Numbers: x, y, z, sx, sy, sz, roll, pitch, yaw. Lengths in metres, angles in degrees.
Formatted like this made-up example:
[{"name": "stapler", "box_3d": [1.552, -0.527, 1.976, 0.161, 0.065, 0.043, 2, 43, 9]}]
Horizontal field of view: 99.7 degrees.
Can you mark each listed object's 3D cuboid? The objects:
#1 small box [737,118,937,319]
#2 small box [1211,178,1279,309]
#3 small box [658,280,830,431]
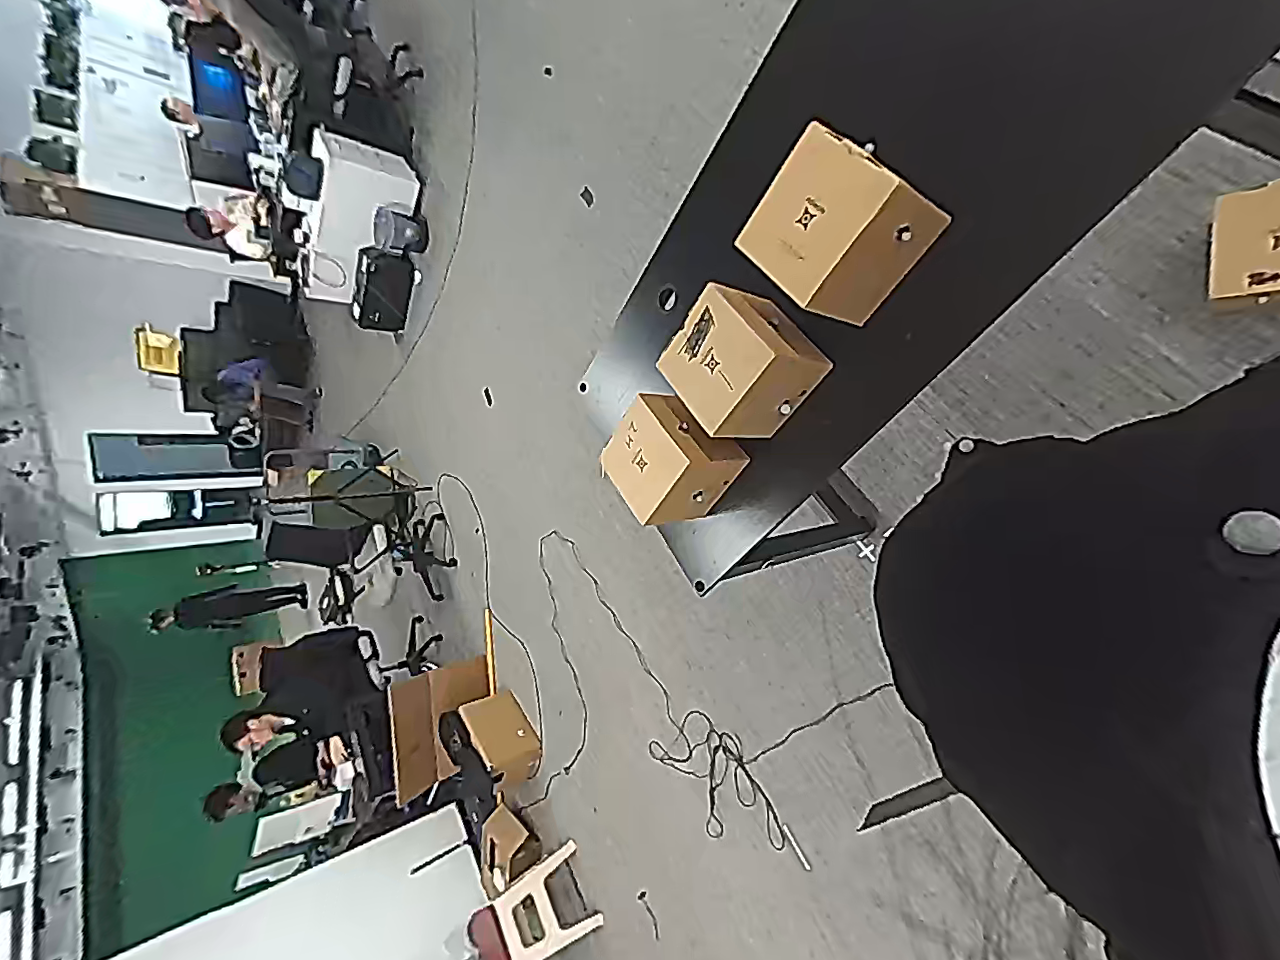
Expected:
[{"name": "small box", "box_3d": [0.278, -0.350, 0.753, 0.168, 0.176, 0.179, 58, 132, 28]}, {"name": "small box", "box_3d": [1.104, -0.407, 0.925, 0.168, 0.176, 0.179, 4, 96, 48]}, {"name": "small box", "box_3d": [0.168, -0.192, 0.883, 0.179, 0.176, 0.168, 57, 131, 27]}]
